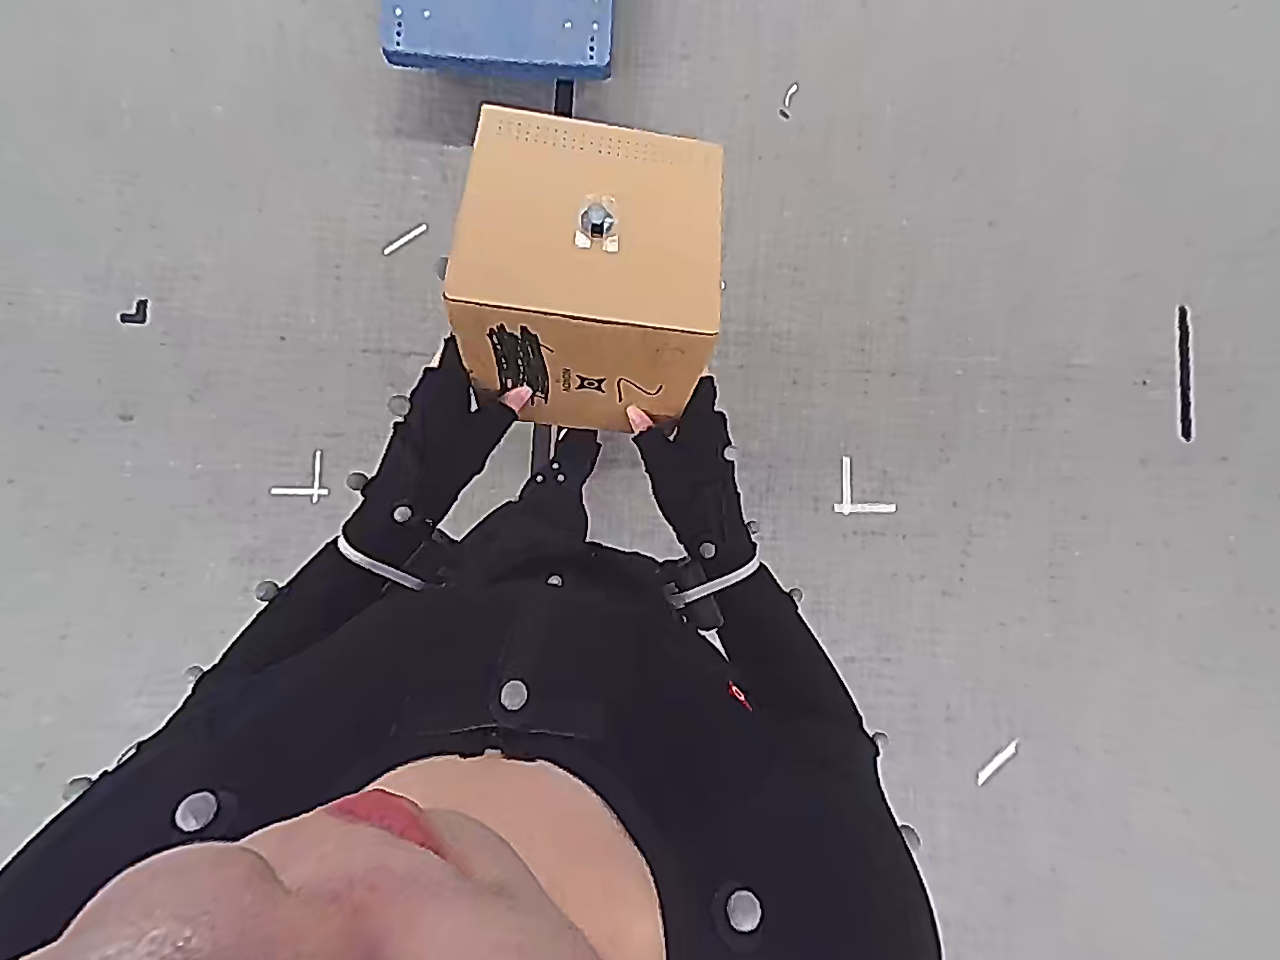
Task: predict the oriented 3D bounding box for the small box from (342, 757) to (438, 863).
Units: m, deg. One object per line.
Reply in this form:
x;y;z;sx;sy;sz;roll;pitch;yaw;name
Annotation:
-0.621;0.831;1.364;0.168;0.176;0.179;-7;87;-2;small box

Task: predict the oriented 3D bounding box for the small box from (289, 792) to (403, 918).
-0.641;0.830;1.198;0.168;0.176;0.179;-6;87;-2;small box

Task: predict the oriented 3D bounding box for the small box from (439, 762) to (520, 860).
-0.404;0.838;1.371;0.168;0.176;0.179;0;88;-1;small box
